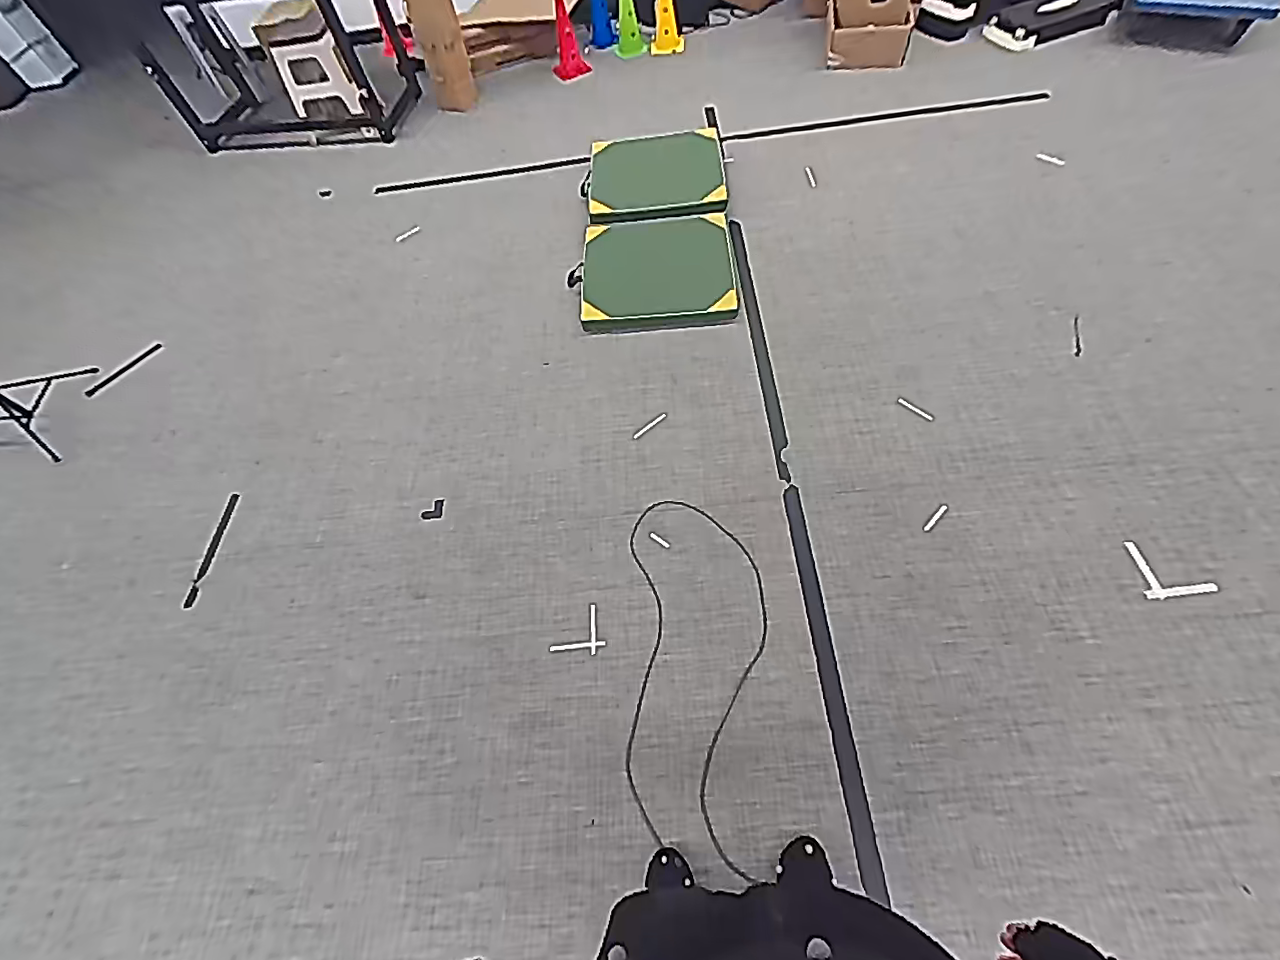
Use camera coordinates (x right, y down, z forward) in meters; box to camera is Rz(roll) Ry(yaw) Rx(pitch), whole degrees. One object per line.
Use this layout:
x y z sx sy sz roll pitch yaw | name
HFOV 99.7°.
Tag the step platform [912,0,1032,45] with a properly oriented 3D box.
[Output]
1.884 -2.685 3.021 0.684 0.204 0.286 -30 60 -11 | step platform
